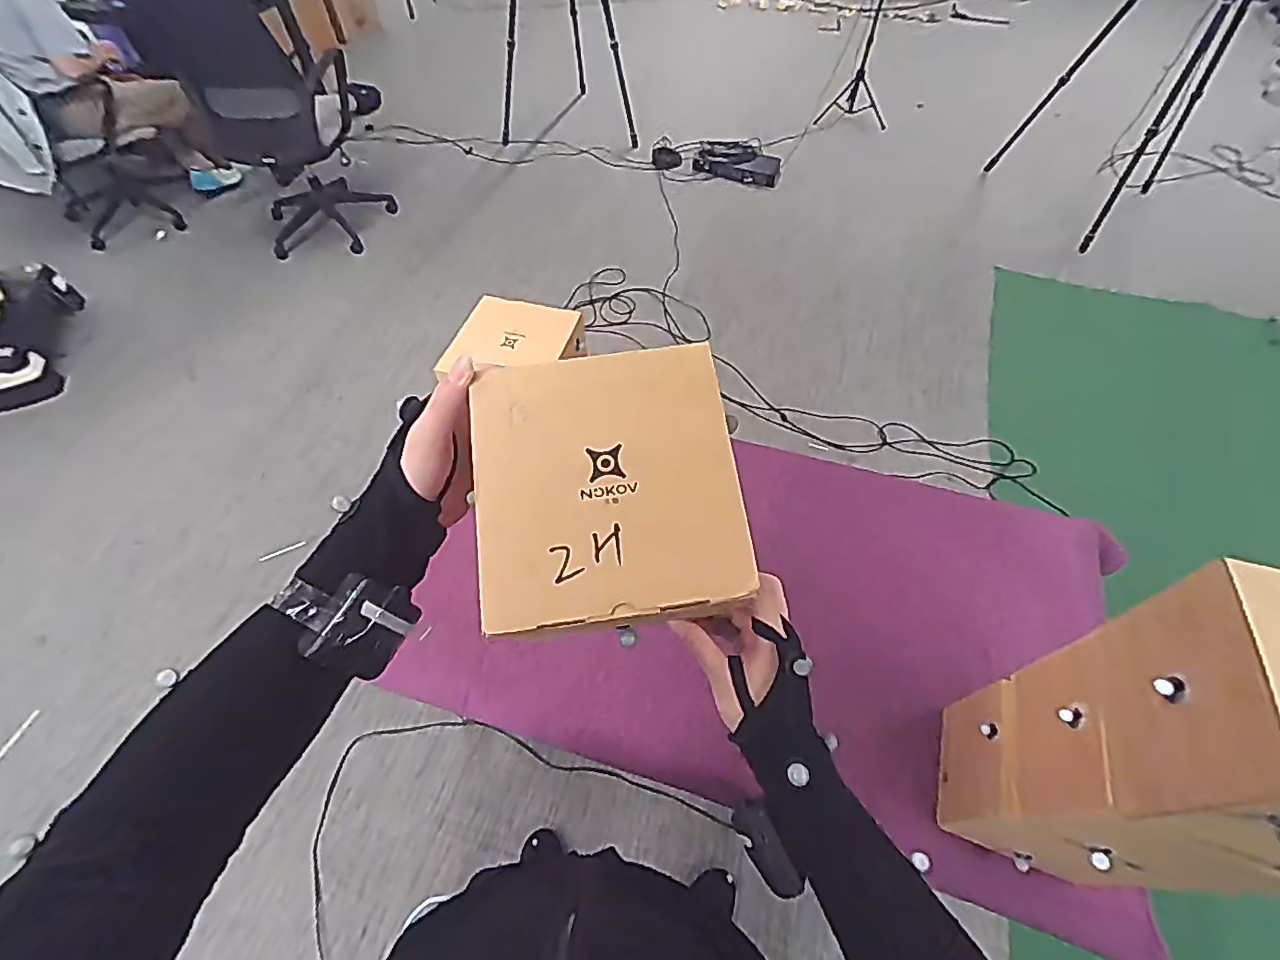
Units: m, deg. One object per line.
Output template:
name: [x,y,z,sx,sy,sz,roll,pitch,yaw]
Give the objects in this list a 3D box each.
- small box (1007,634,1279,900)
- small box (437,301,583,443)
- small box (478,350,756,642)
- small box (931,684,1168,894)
small box: [0.508,0.294,0.557,0.168,0.176,0.179,17,56,14]
small box: [-0.189,-0.153,0.865,0.168,0.176,0.179,12,56,8]
small box: [-0.022,0.024,0.422,0.168,0.176,0.179,-7,72,-3]
small box: [0.505,0.390,0.689,0.179,0.176,0.168,18,56,12]
